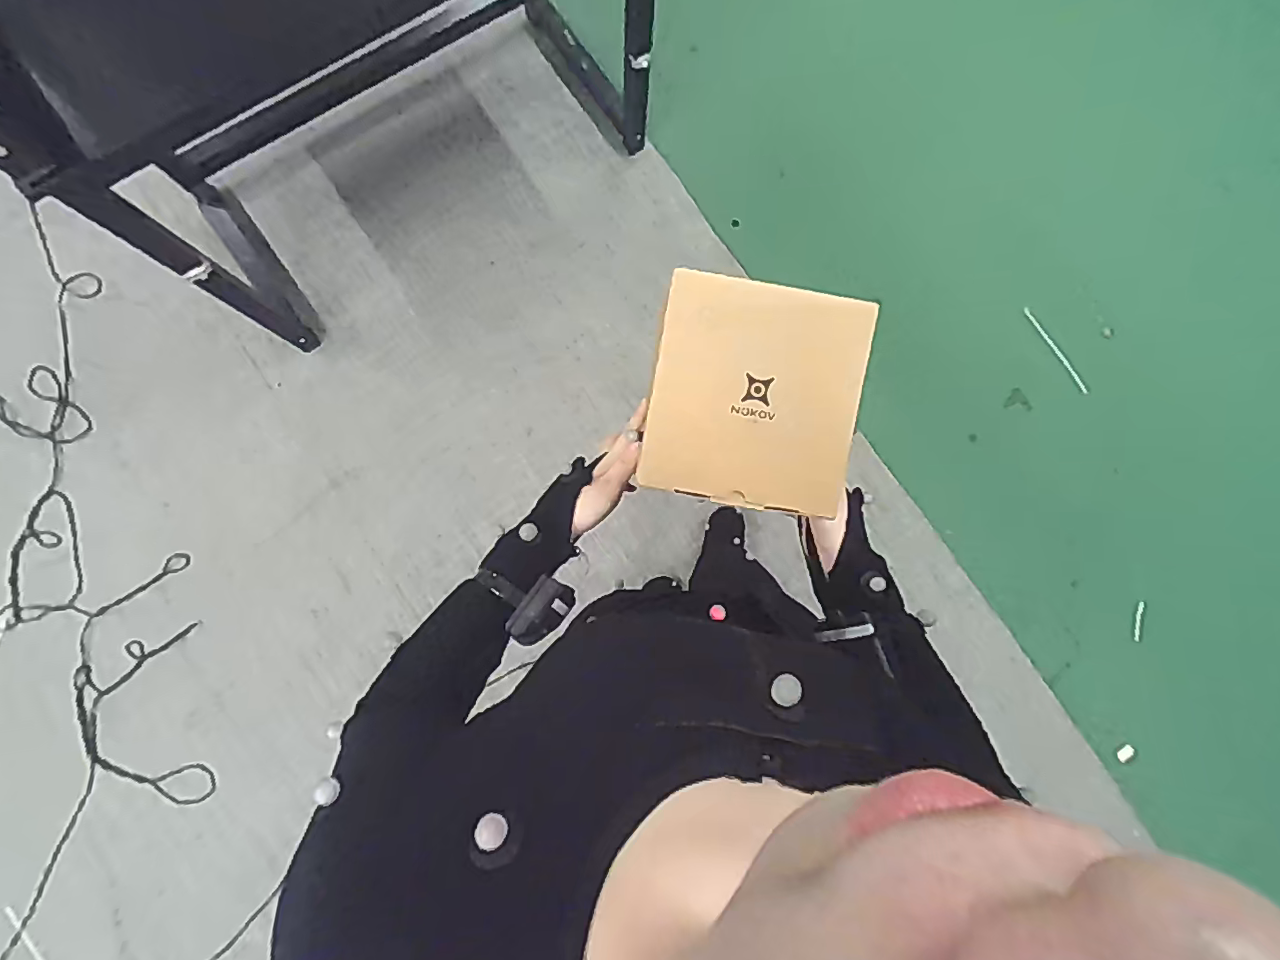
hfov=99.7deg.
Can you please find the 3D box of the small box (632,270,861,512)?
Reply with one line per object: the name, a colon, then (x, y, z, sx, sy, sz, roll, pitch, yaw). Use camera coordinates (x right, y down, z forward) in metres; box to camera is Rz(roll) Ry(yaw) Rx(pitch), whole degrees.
small box: (0.084, -0.078, 0.519, 0.168, 0.176, 0.179, 9, 96, -2)
